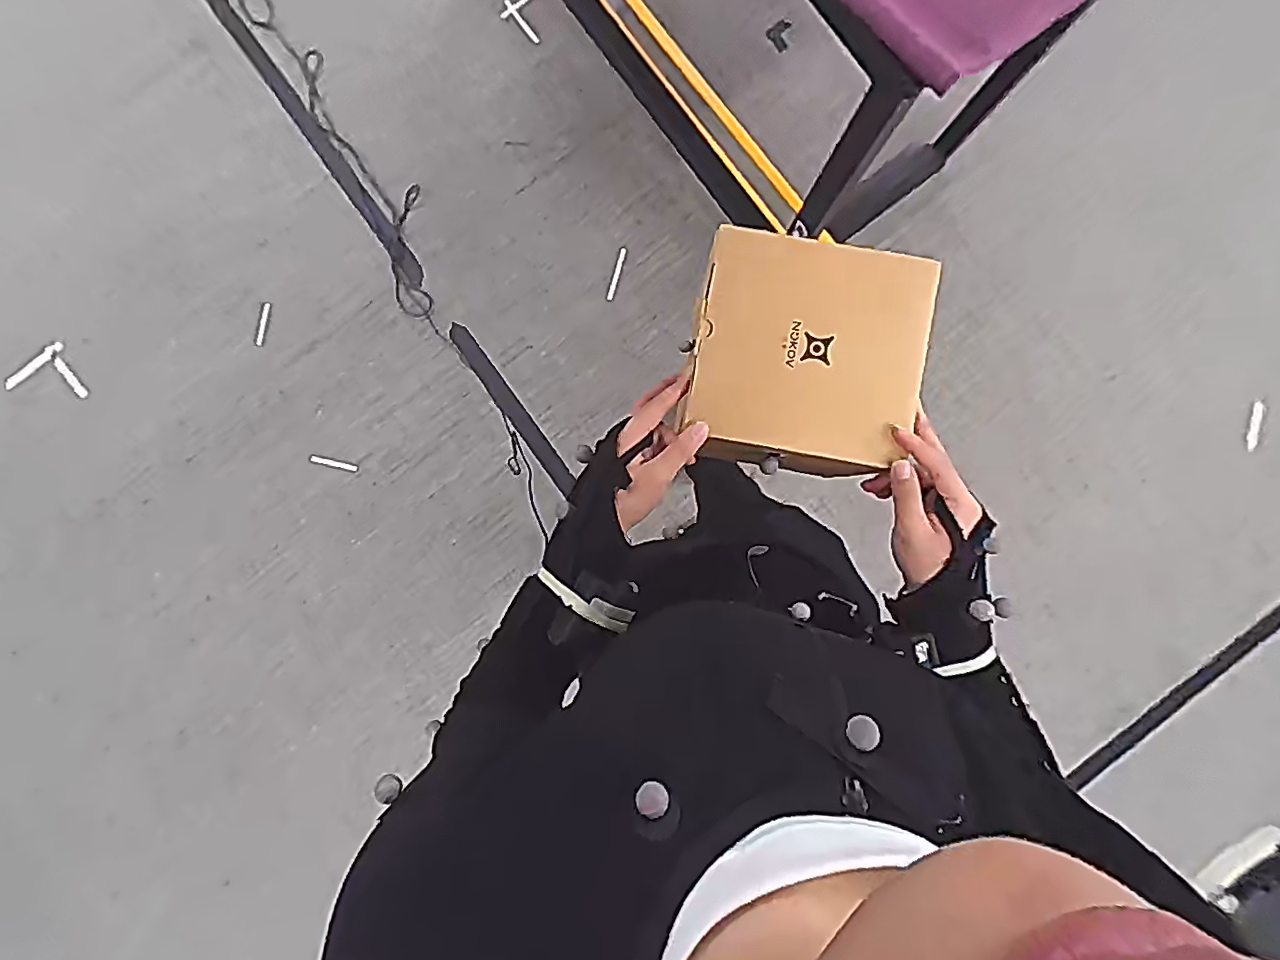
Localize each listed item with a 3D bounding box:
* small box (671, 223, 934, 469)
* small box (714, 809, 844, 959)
[{"bbox_3d":[0.129,-0.104,0.495,0.179,0.176,0.168,9,90,2],"label":"small box"},{"bbox_3d":[0.270,0.816,1.103,0.168,0.176,0.179,-42,90,-1],"label":"small box"}]
